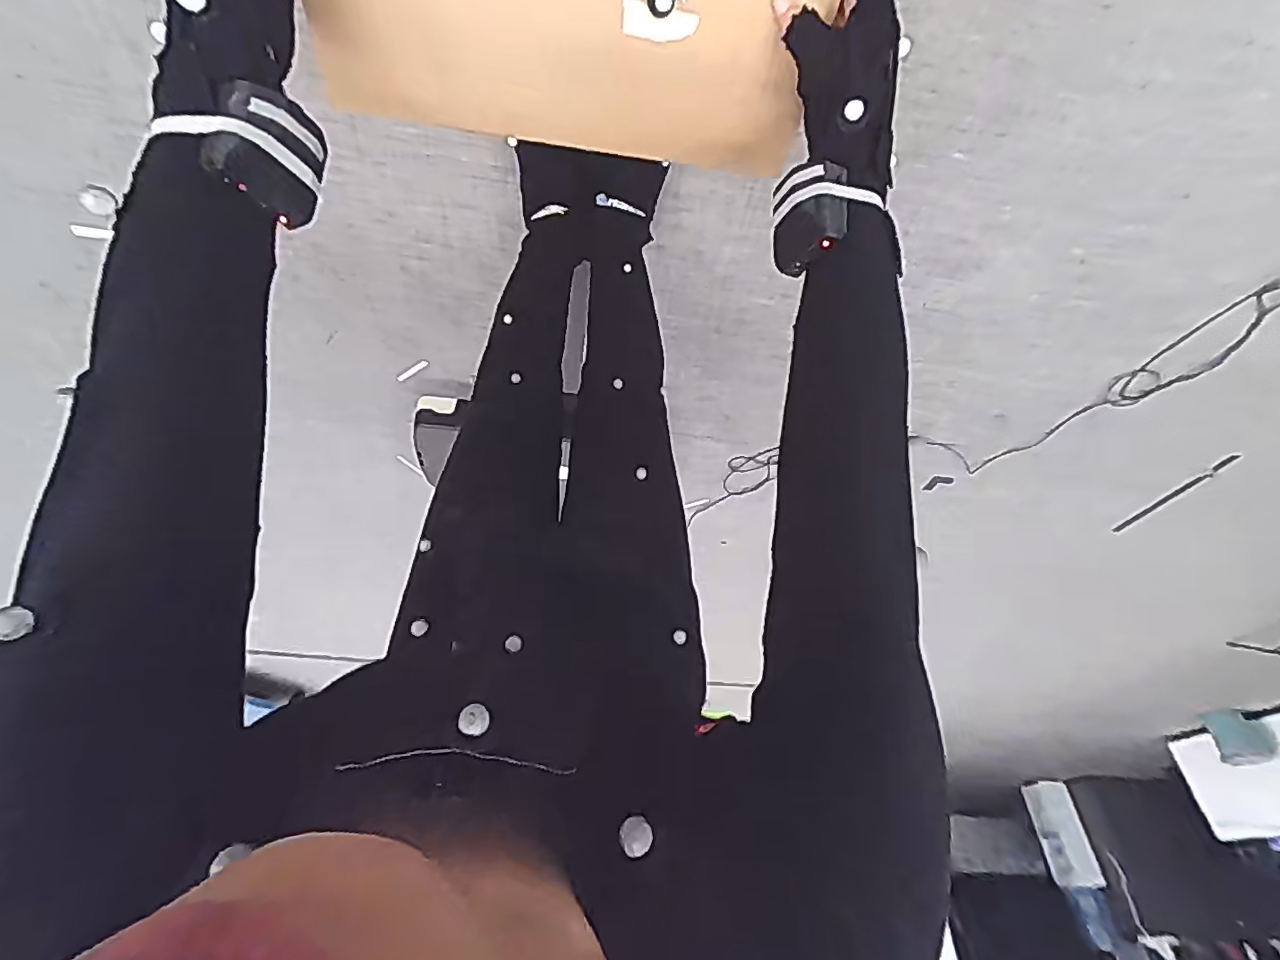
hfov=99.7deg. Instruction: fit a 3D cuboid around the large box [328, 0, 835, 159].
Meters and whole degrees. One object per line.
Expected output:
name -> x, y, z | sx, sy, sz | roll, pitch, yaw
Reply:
large box -> -0.043, -0.529, 0.479 | 0.408, 0.320, 0.320 | 4, 139, -8
